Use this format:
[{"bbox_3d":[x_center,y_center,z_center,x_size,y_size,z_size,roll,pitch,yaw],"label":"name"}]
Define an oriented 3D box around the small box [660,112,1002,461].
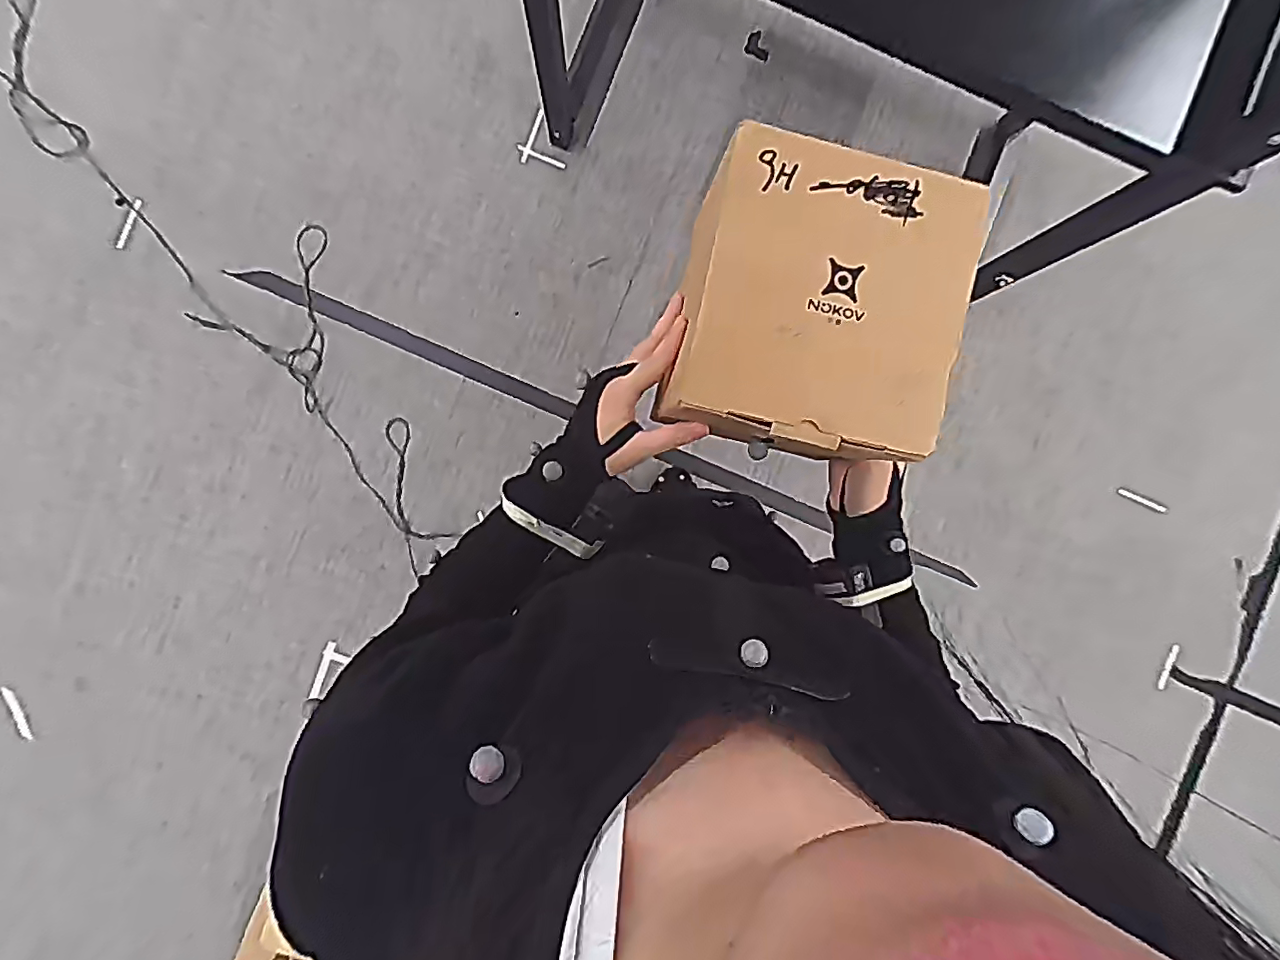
[{"bbox_3d":[0.115,-0.118,0.403,0.168,0.176,0.179,12,92,-6],"label":"small box"}]
